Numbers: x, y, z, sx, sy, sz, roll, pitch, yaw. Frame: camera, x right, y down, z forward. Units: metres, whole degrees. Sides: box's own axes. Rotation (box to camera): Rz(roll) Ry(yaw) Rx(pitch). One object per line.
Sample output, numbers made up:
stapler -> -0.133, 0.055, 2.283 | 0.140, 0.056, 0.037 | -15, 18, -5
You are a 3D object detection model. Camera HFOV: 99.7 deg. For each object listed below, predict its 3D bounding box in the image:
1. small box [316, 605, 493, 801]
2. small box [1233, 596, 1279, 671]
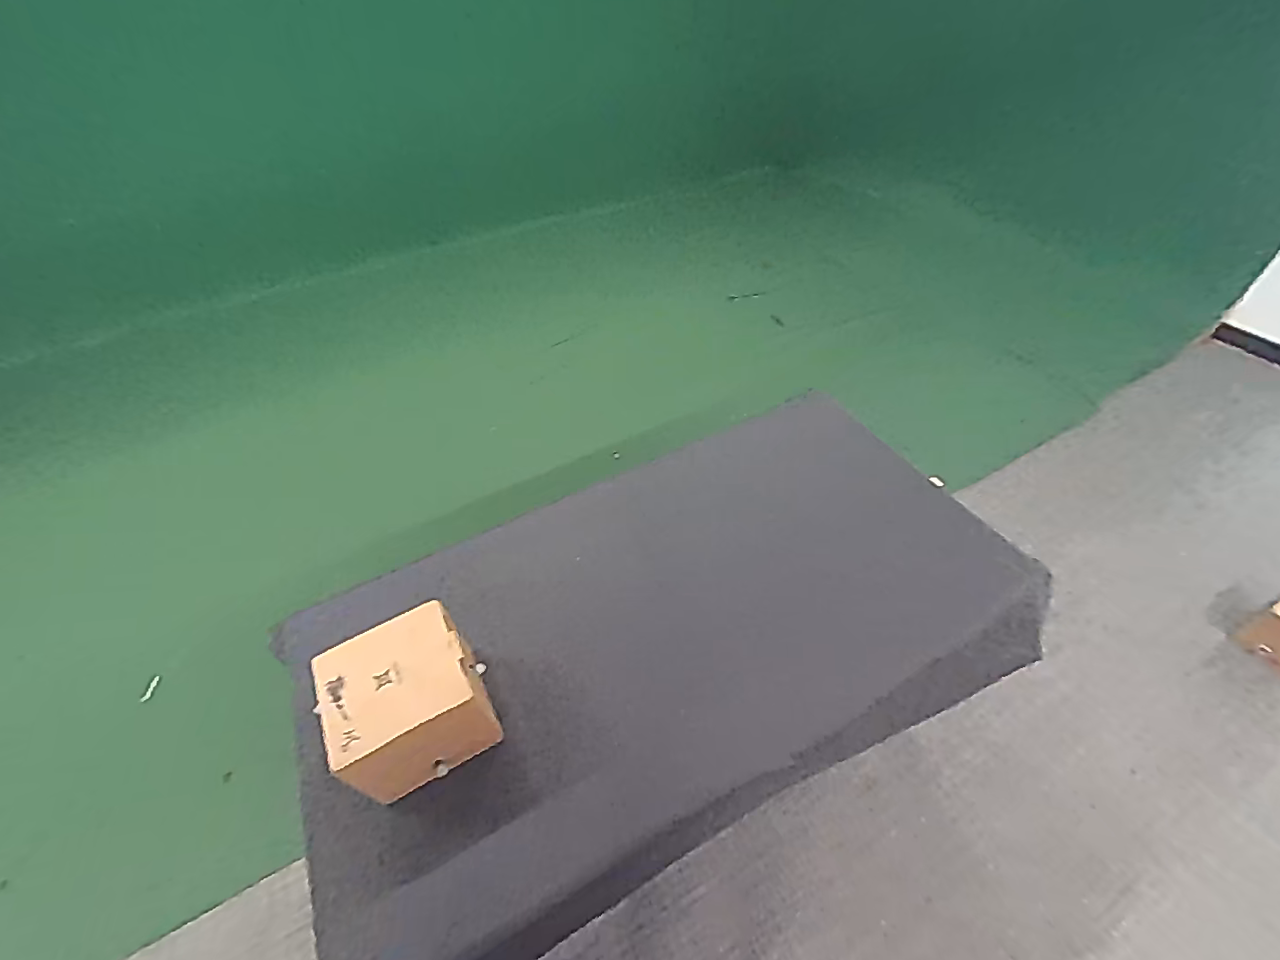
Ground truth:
small box -> -0.321, 0.315, 0.766 | 0.179, 0.176, 0.168 | -24, 51, -19
small box -> 1.842, 0.416, 1.509 | 0.179, 0.176, 0.168 | -22, 48, -16
